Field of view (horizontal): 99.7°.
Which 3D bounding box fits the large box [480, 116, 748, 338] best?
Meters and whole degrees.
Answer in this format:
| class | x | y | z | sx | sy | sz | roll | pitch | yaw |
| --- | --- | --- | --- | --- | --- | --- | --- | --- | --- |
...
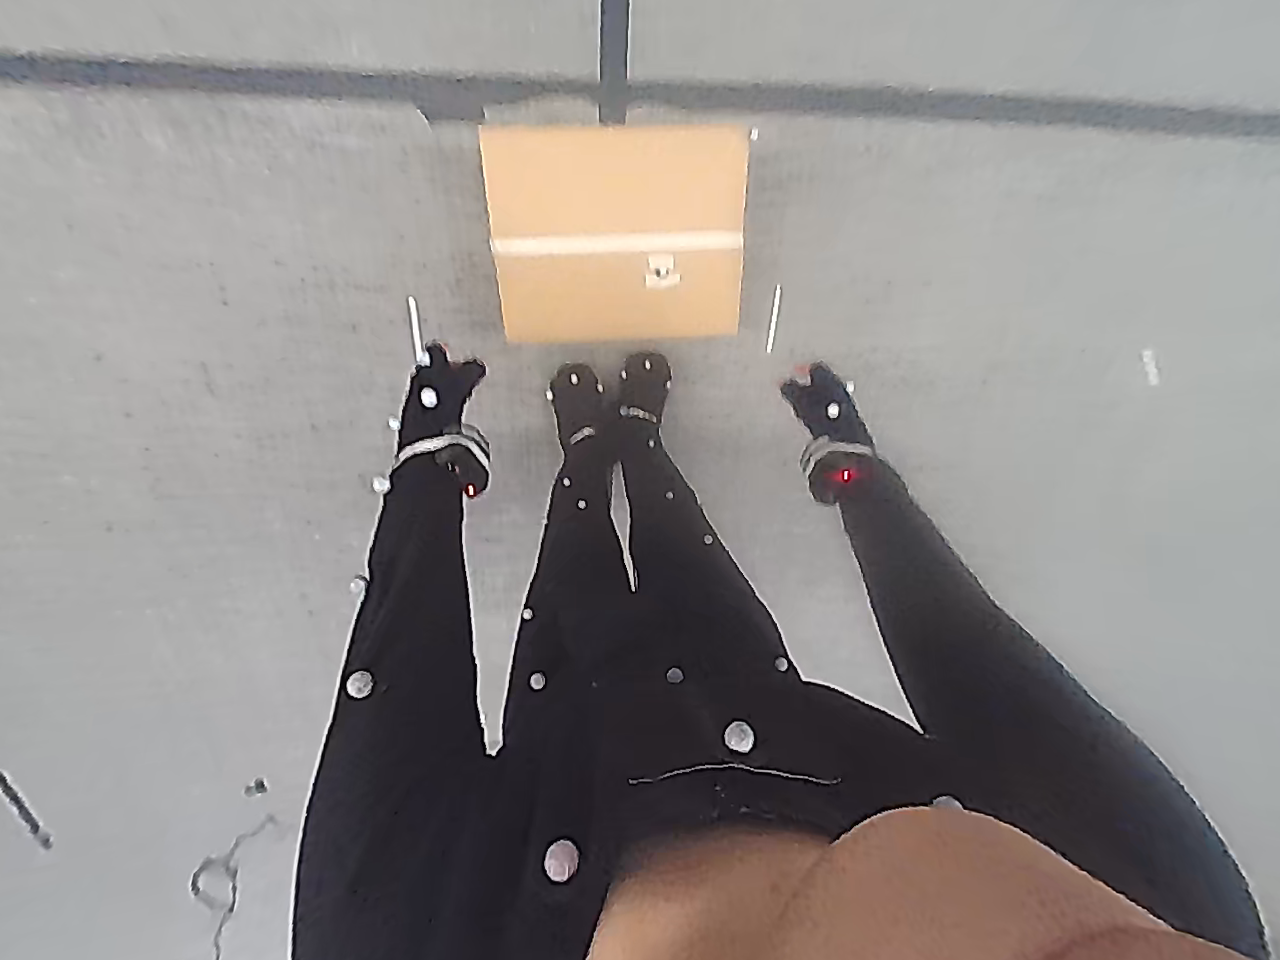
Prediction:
| class | x | y | z | sx | sy | sz | roll | pitch | yaw |
| --- | --- | --- | --- | --- | --- | --- | --- | --- | --- |
| large box | -0.048 | -0.460 | 0.993 | 0.408 | 0.320 | 0.320 | -4 | 119 | -5 |
